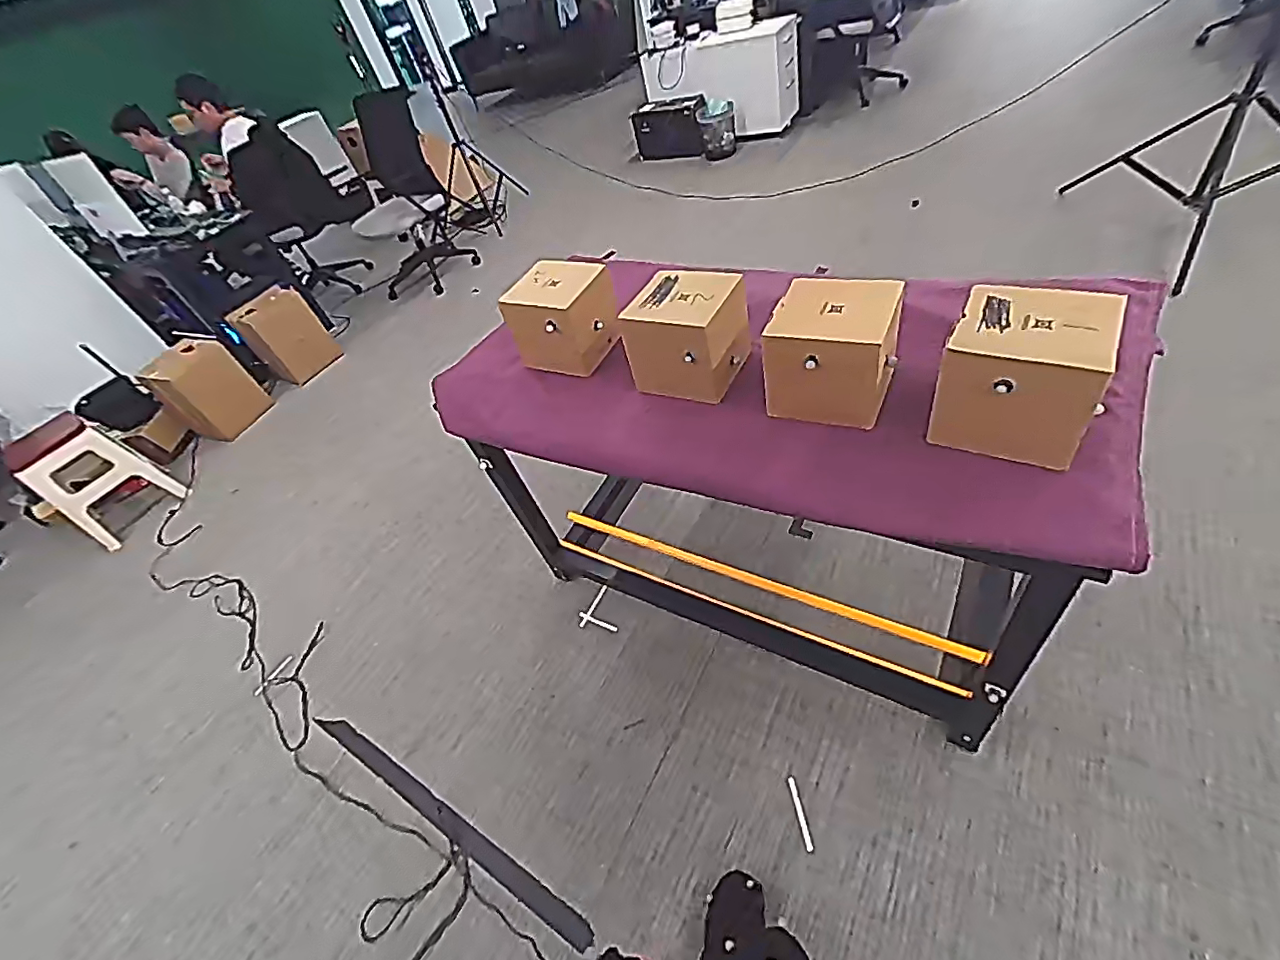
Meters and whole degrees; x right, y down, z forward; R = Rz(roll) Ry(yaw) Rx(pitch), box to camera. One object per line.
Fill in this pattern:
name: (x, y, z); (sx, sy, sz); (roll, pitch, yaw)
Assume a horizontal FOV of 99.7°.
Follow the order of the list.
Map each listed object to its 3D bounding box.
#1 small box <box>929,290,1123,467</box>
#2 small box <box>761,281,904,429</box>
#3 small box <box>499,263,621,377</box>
small box: (0.523, -0.141, 0.752); (0.179, 0.176, 0.168); (19, 55, 31)
small box: (0.314, -0.203, 0.886); (0.179, 0.176, 0.168); (13, 54, 29)
small box: (-0.162, -0.342, 1.165); (0.179, 0.176, 0.168); (14, 54, 26)
